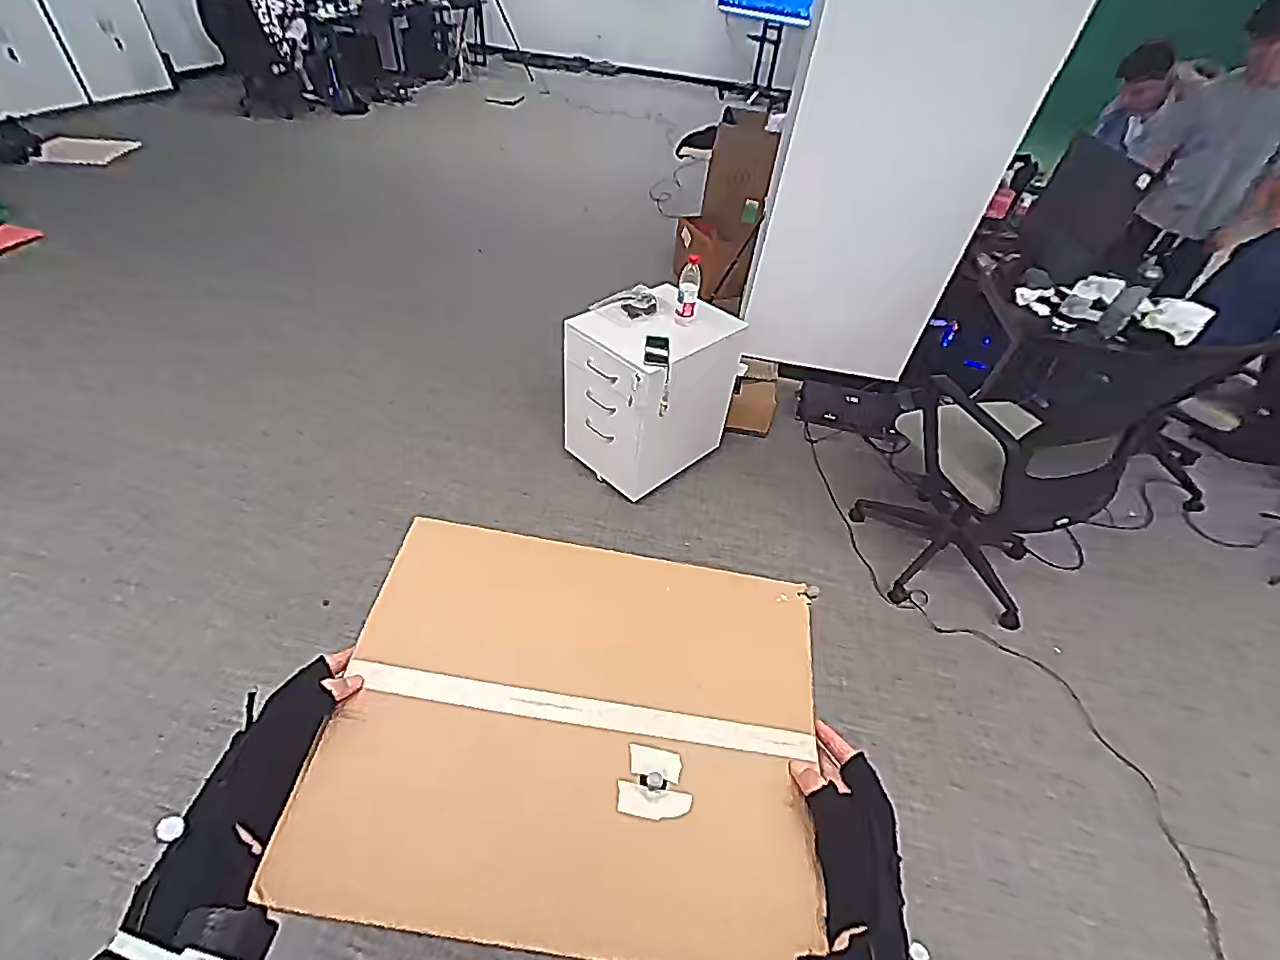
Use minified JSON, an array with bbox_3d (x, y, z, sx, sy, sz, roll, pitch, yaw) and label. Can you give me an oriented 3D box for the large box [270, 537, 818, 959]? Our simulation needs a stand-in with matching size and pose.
[{"bbox_3d":[-0.069,0.296,0.590,0.408,0.320,0.320,10,54,-2],"label":"large box"}]
